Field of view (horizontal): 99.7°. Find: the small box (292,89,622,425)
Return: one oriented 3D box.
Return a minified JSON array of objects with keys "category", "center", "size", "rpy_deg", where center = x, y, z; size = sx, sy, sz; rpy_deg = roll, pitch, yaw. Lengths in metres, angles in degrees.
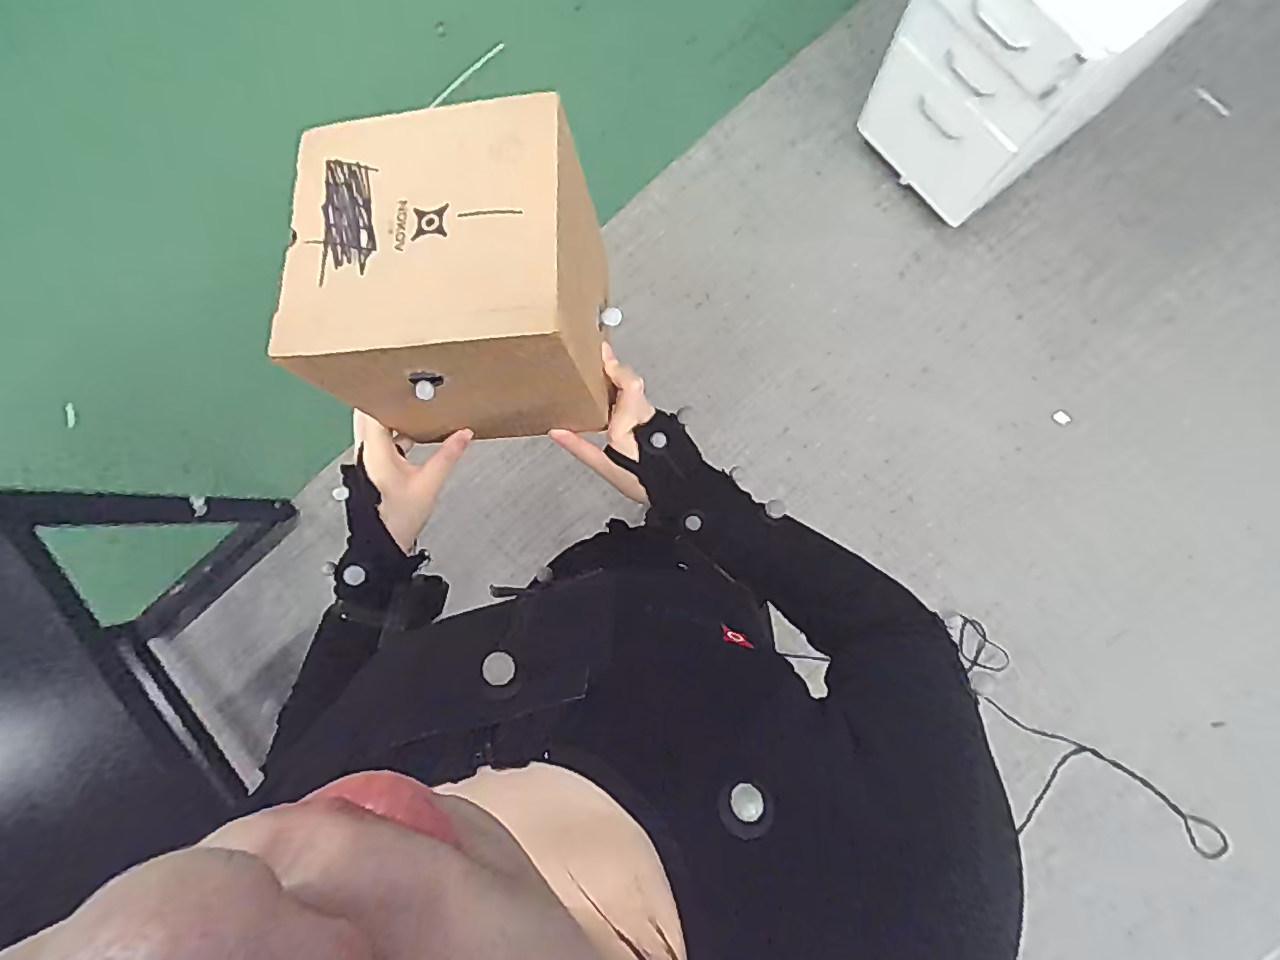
[{"category":"small box","center":[-0.113,-0.145,0.407],"size":[0.179,0.176,0.168],"rpy_deg":[-2,77,6]}]
